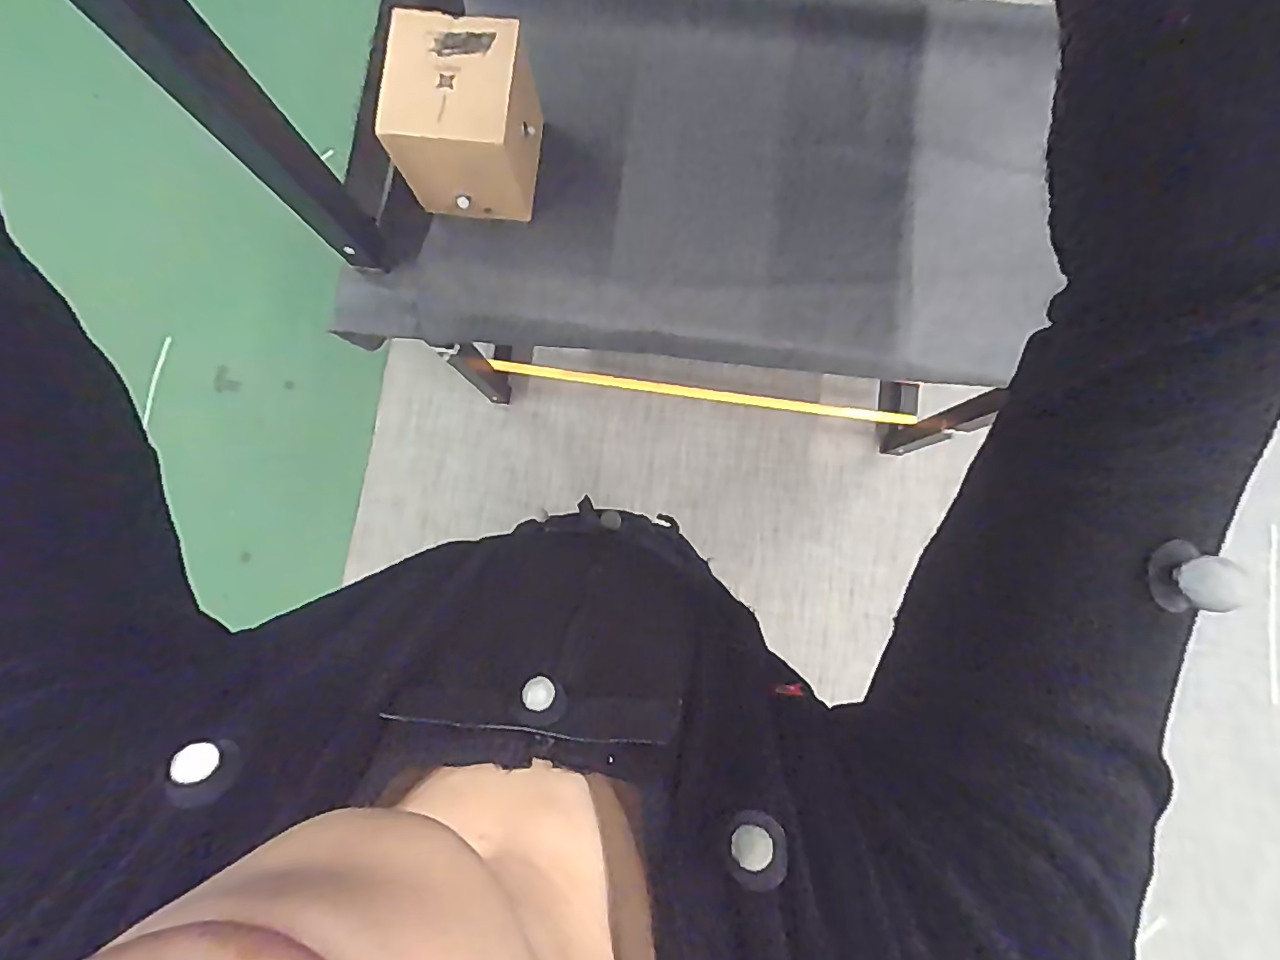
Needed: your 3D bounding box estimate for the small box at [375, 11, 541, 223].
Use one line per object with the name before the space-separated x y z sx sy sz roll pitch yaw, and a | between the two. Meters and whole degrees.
small box | -0.240 -0.496 0.758 0.168 0.176 0.179 5 83 1
